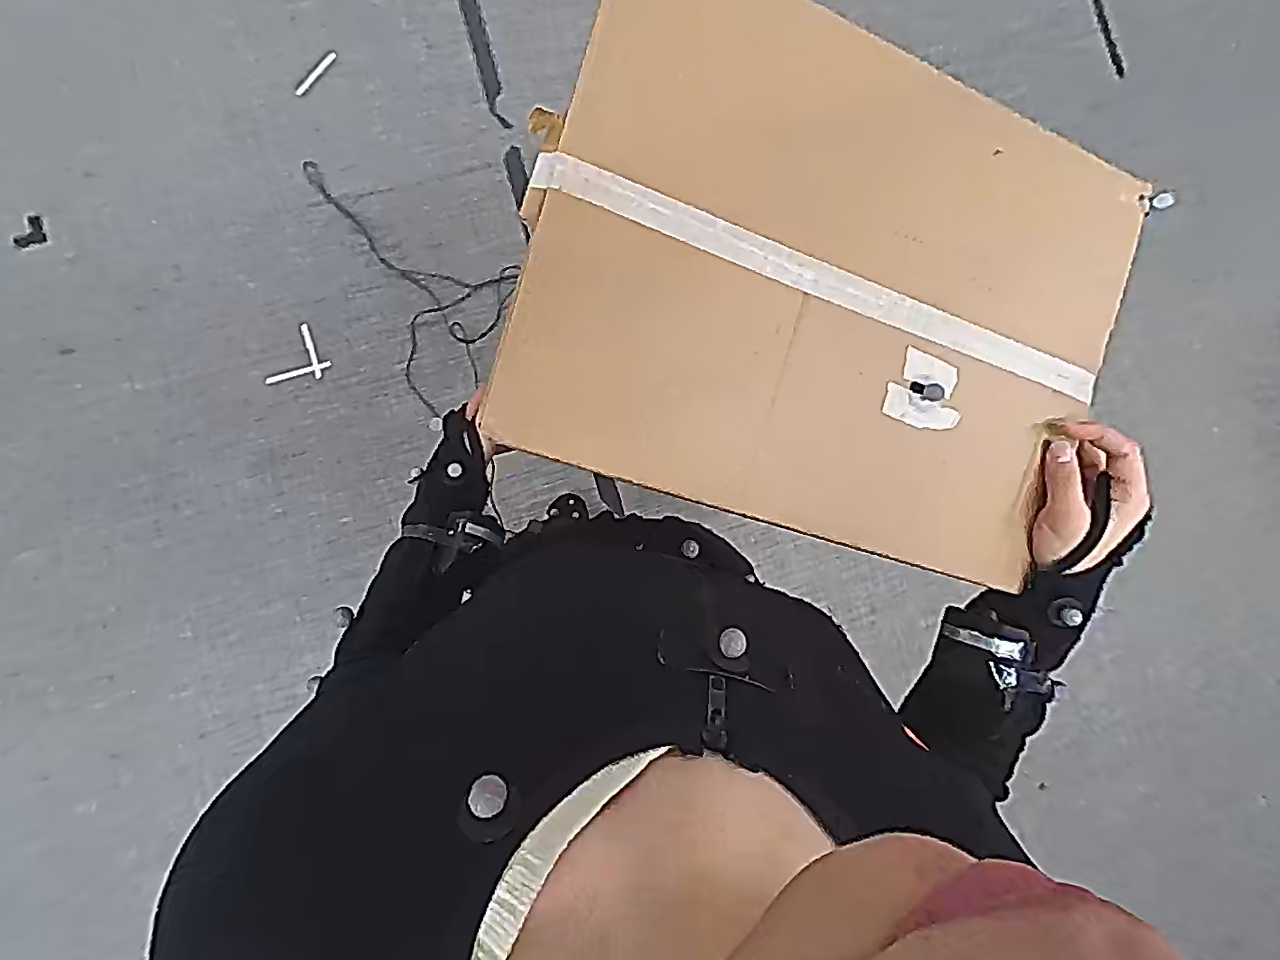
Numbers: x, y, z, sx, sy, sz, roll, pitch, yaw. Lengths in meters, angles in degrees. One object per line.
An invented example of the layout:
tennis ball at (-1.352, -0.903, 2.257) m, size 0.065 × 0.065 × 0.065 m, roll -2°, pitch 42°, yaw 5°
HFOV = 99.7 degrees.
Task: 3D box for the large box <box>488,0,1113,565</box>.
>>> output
large box at (0.097, -0.139, 0.504) m, size 0.408 × 0.320 × 0.320 m, roll 15°, pitch 91°, yaw -14°
